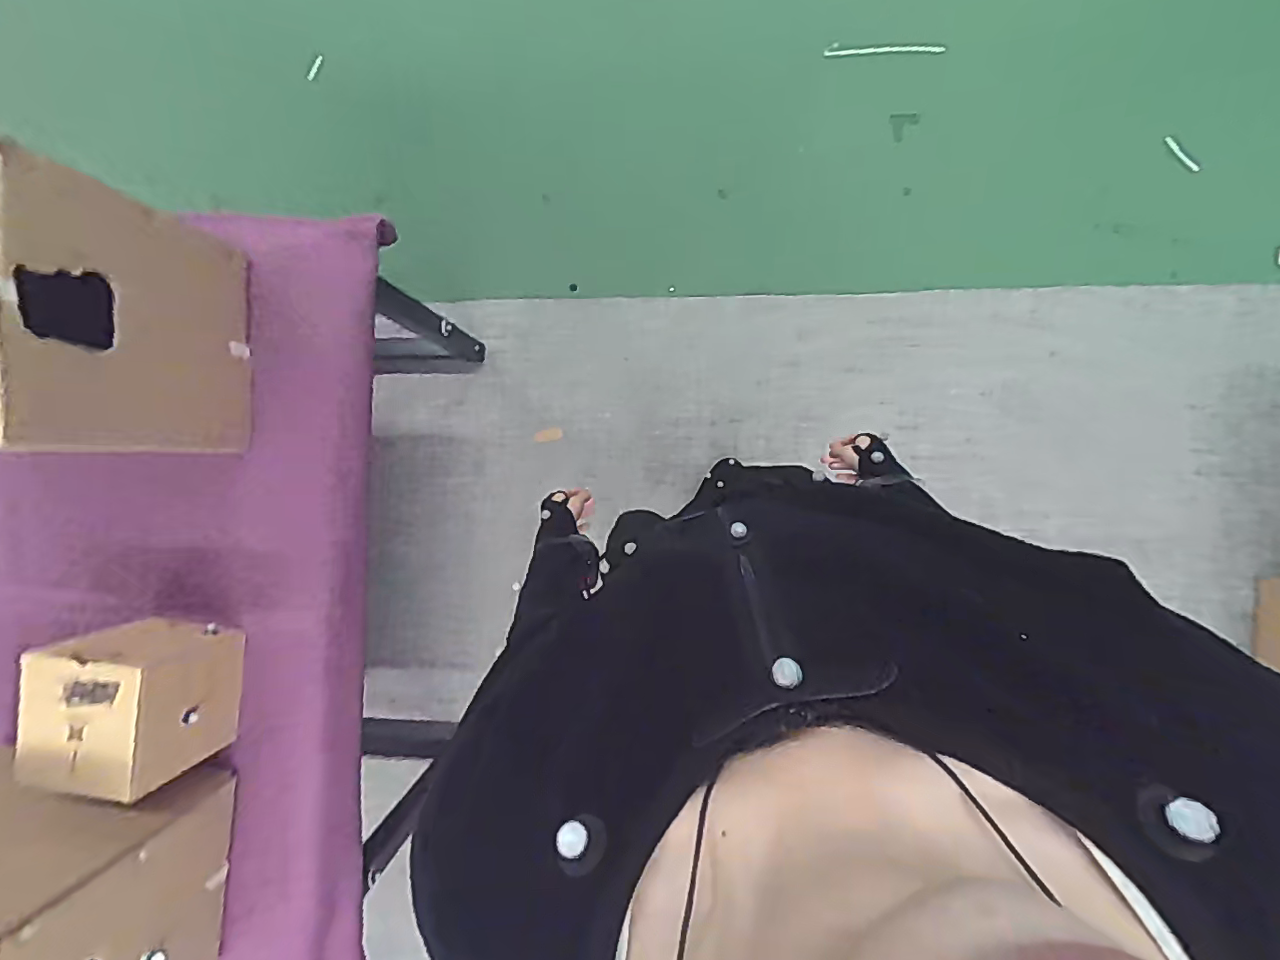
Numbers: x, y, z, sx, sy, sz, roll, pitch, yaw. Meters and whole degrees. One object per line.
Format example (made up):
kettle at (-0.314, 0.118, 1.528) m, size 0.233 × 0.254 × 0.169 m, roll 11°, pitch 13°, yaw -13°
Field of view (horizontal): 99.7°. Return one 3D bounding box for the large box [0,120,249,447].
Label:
large box at (-0.808, -0.205, 0.692) m, size 0.408 × 0.320 × 0.320 m, roll 1°, pitch 93°, yaw 3°
